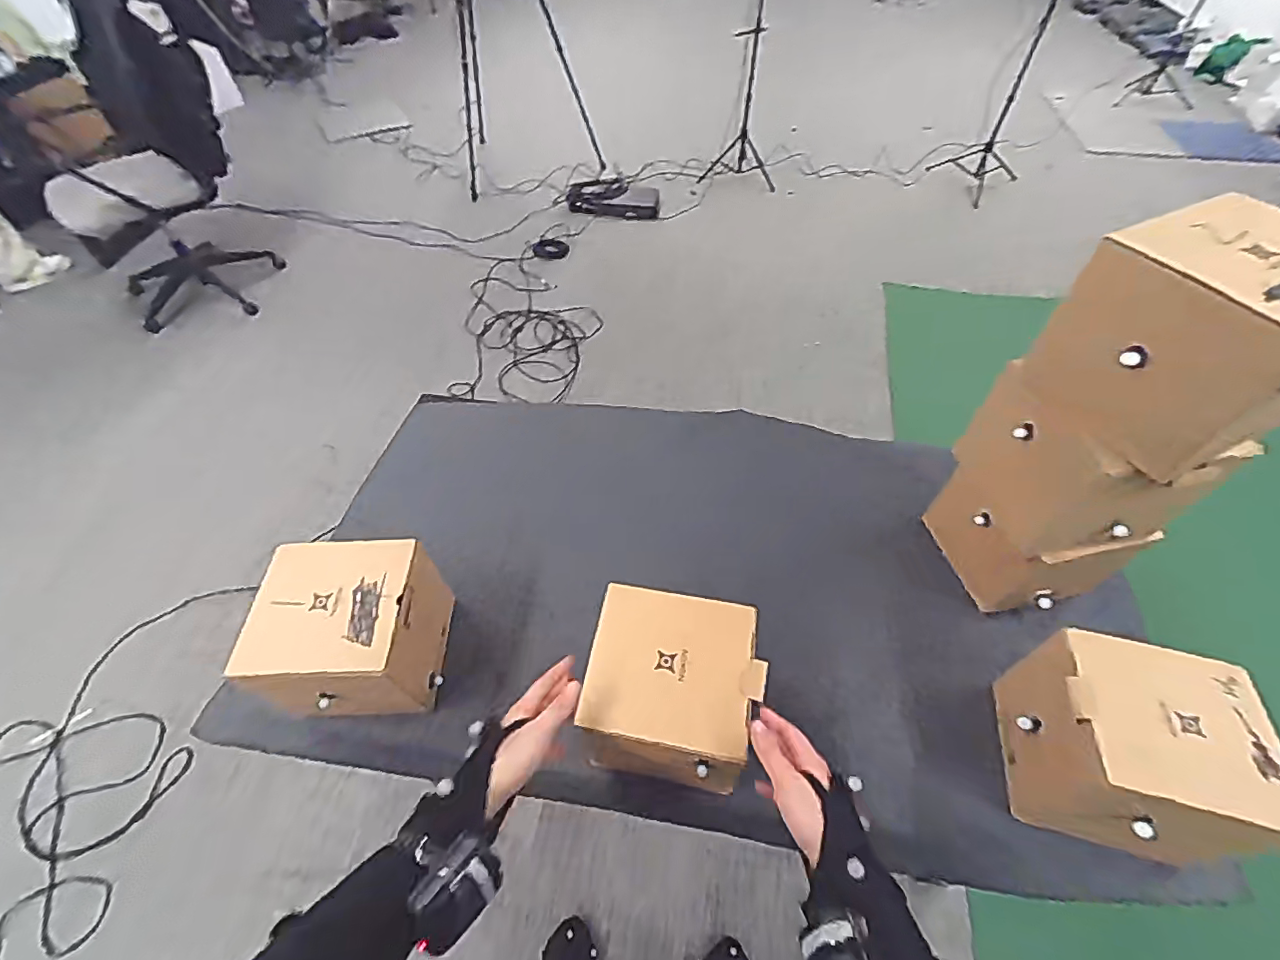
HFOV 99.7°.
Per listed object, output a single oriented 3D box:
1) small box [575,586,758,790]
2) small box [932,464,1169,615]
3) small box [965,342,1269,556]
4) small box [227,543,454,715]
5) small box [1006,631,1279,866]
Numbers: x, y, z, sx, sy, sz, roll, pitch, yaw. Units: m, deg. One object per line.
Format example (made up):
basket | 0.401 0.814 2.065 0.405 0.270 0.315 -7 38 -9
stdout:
small box | 0.036 0.248 0.640 0.179 0.176 0.168 8 52 8
small box | 0.555 0.067 0.767 0.168 0.176 0.179 -12 55 -4
small box | 0.527 -0.034 0.638 0.168 0.176 0.179 -9 53 -1
small box | -0.355 0.193 0.687 0.179 0.176 0.168 -2 53 0
small box | 0.531 0.293 0.588 0.179 0.176 0.168 12 50 11
